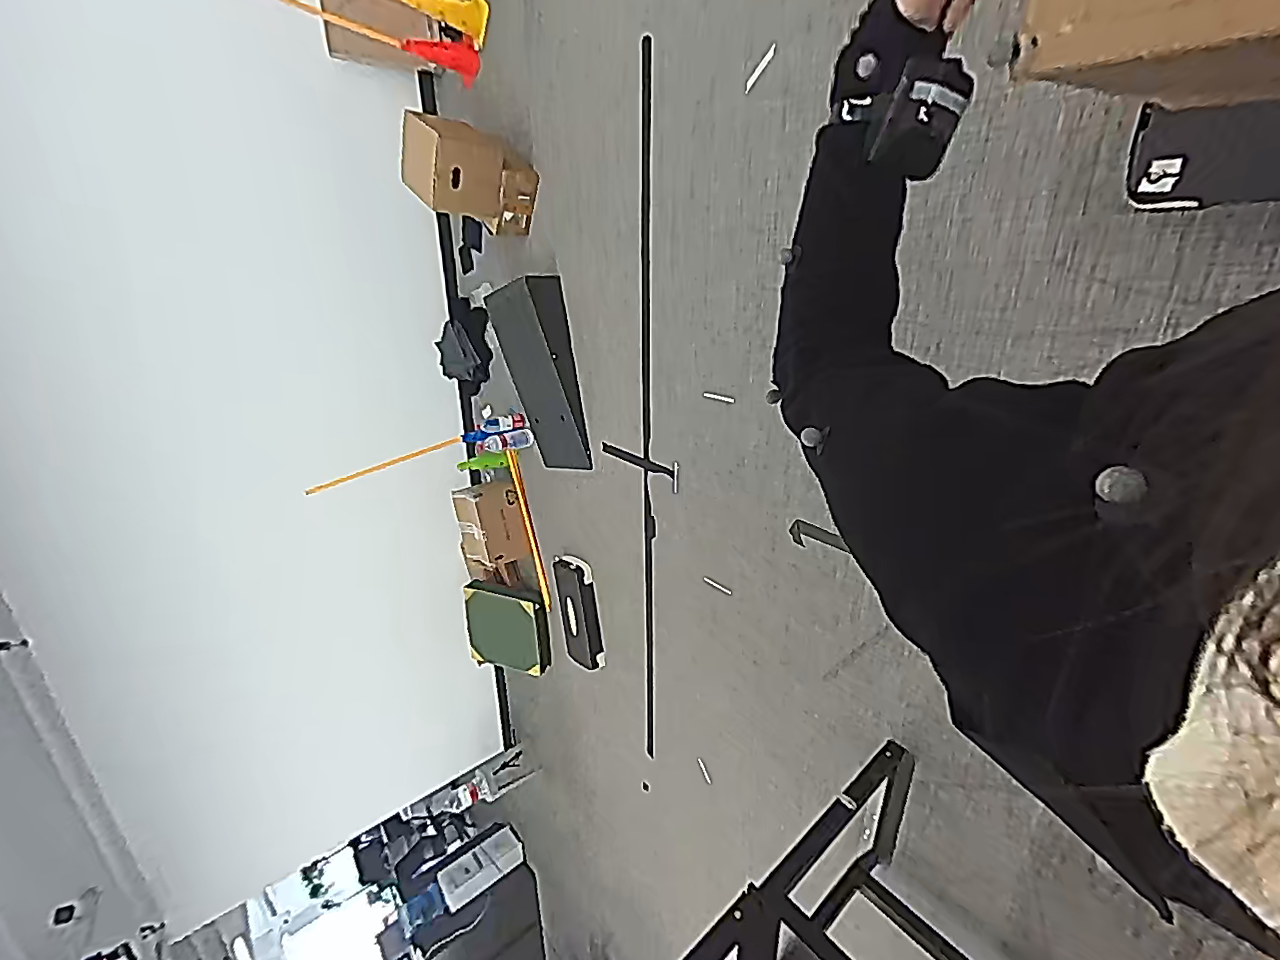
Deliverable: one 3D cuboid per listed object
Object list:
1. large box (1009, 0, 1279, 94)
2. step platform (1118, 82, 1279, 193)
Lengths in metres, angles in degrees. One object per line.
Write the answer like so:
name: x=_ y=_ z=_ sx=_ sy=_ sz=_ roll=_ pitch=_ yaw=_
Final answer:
large box: x=0.444 y=-0.348 z=0.175 sx=0.408 sy=0.320 sz=0.320 roll=32 pitch=132 yaw=47
step platform: x=1.108 y=-0.549 z=0.730 sx=0.684 sy=0.204 sz=0.286 roll=31 pitch=127 yaw=43
